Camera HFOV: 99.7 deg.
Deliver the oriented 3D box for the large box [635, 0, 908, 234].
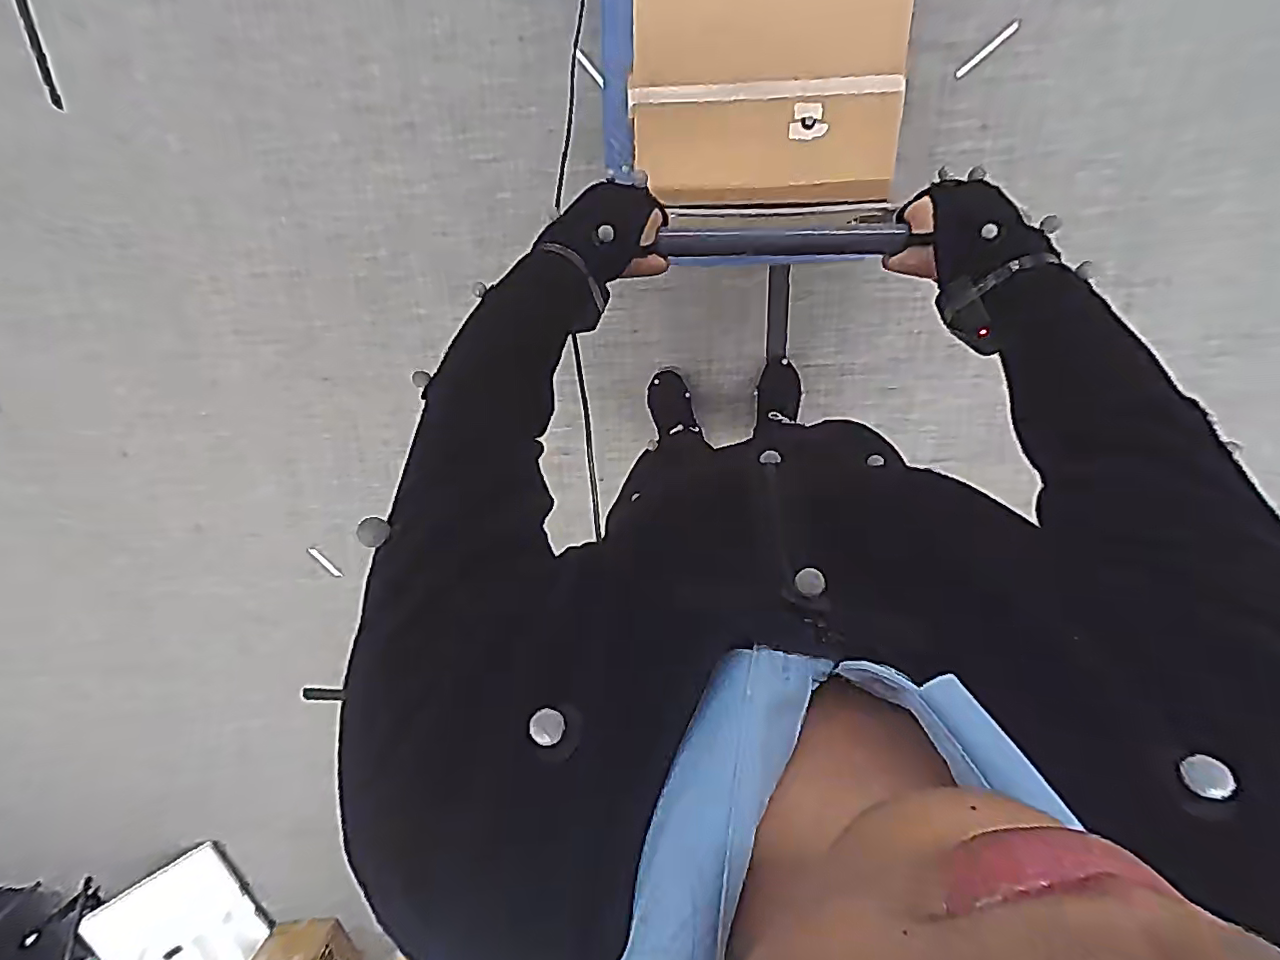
[{"bbox_3d":[0.206,-0.639,0.979,0.408,0.320,0.320,1,109,5],"label":"large box"}]
